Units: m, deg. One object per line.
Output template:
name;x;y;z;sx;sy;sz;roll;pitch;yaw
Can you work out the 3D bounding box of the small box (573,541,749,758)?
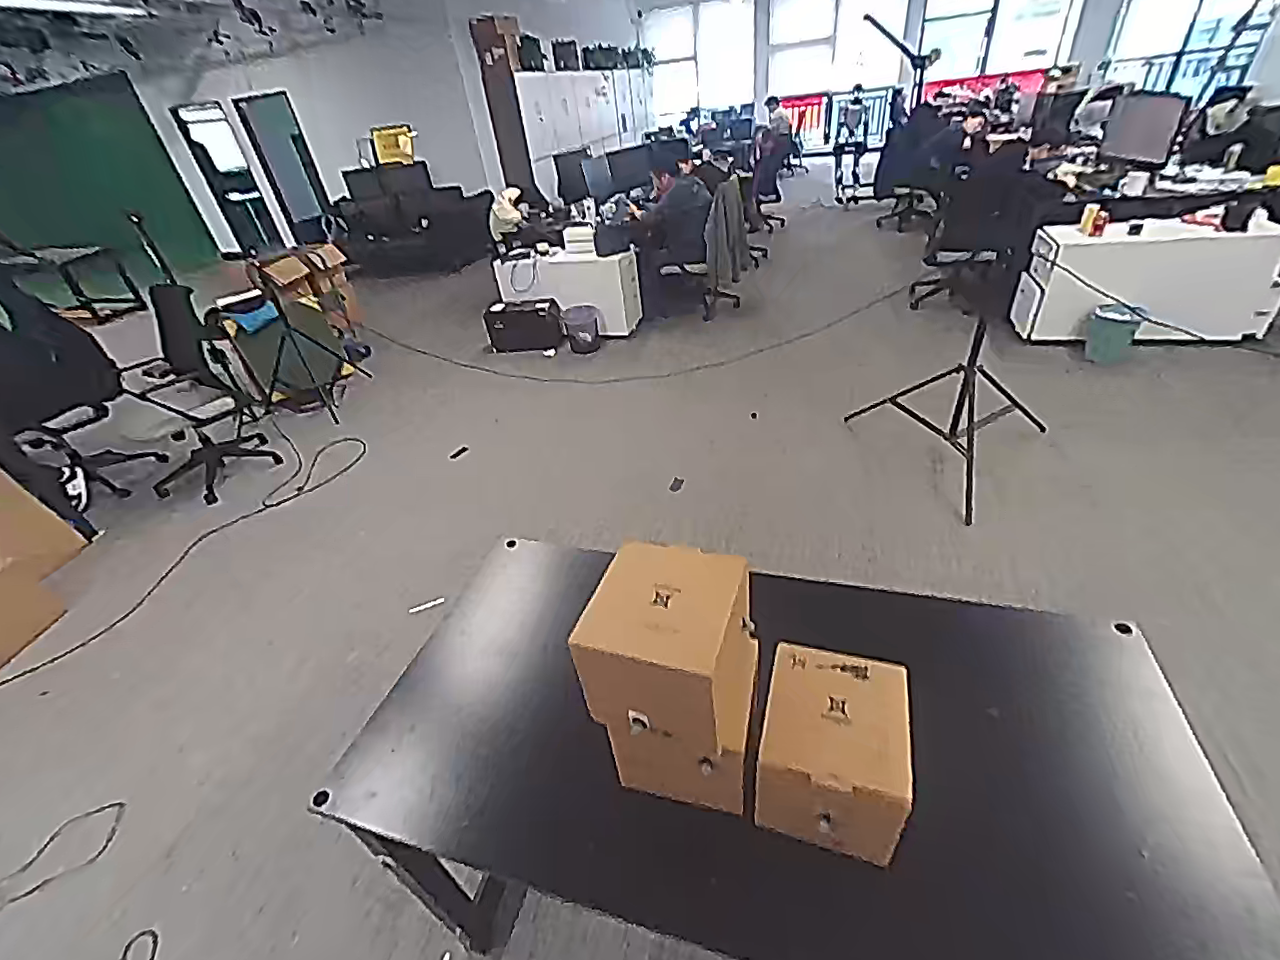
small box;0.038;0.205;0.674;0.168;0.176;0.179;6;38;21
